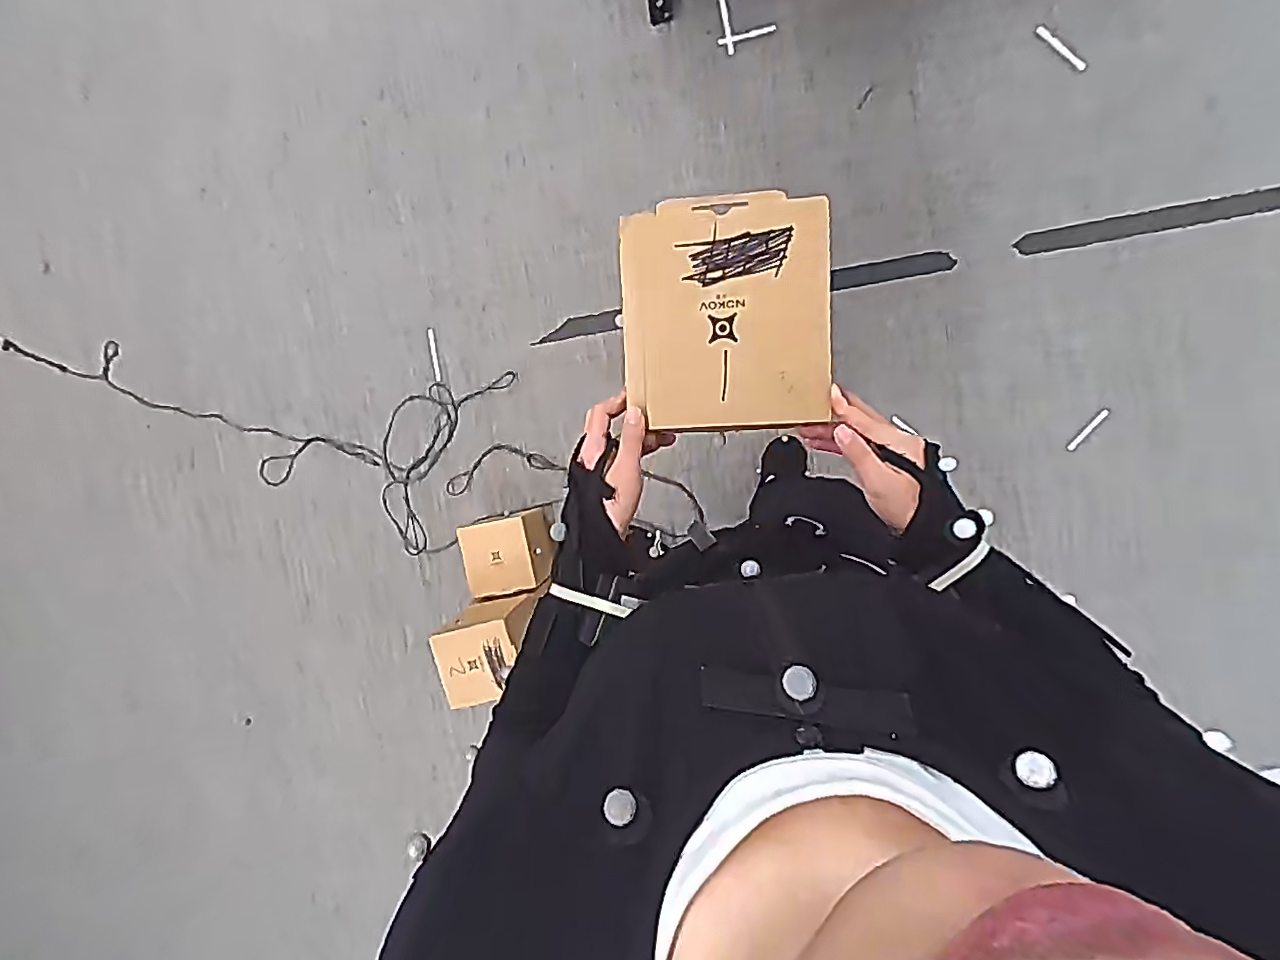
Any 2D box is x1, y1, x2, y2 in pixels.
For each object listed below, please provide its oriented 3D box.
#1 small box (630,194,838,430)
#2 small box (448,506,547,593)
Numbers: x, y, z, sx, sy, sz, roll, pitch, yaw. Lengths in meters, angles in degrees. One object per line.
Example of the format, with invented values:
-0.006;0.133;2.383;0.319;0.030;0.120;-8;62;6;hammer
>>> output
0.084;-0.138;0.510;0.168;0.176;0.179;-1;94;8;small box
-0.331;0.165;1.284;0.179;0.176;0.168;16;82;-5;small box
